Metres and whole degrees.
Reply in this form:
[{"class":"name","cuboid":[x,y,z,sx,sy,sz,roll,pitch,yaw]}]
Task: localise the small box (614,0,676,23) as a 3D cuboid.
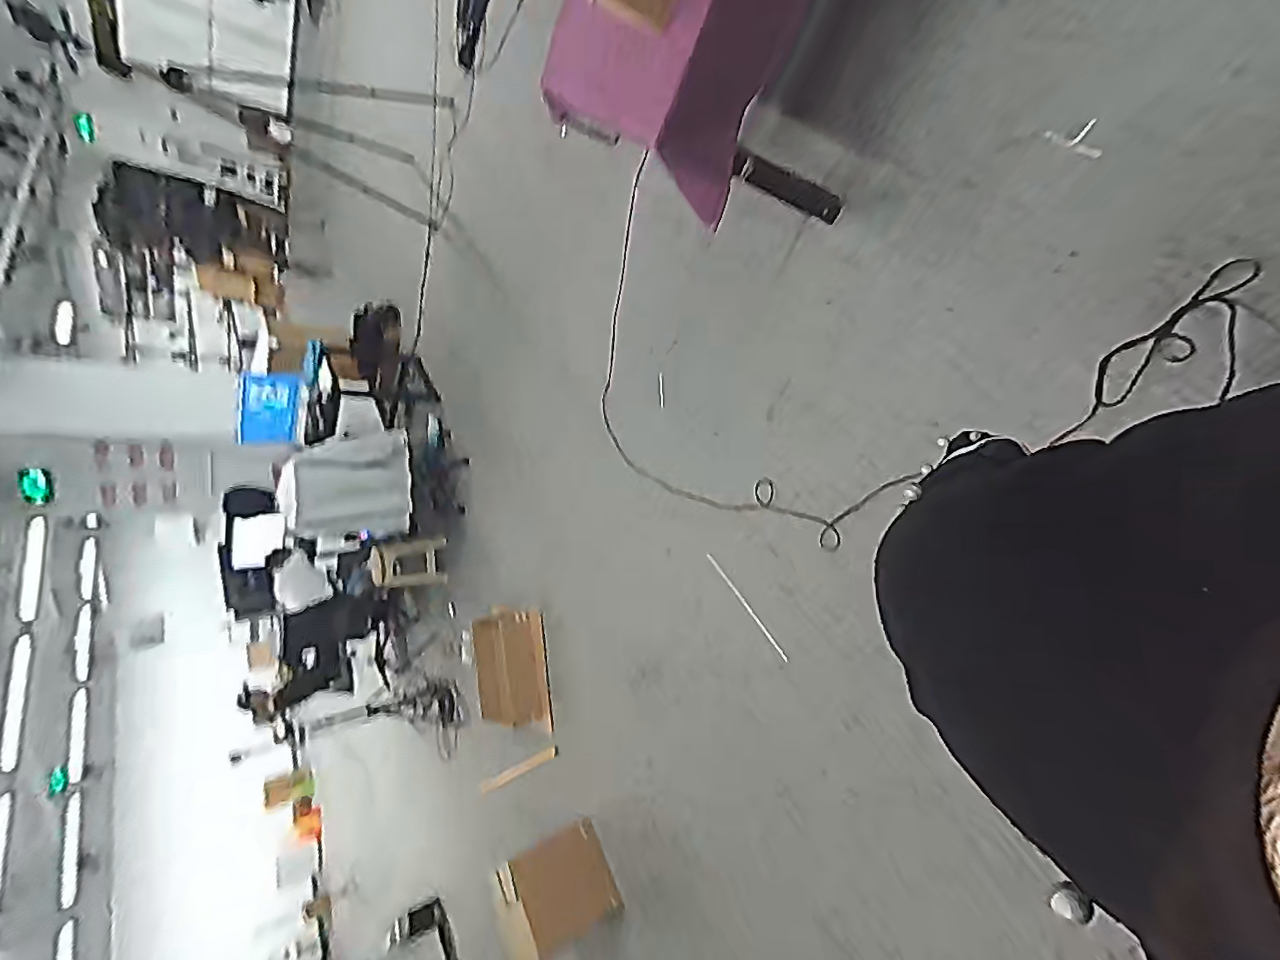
[{"class":"small box","cuboid":[-0.013,-1.066,1.084,0.179,0.176,0.168,53,129,32]}]
